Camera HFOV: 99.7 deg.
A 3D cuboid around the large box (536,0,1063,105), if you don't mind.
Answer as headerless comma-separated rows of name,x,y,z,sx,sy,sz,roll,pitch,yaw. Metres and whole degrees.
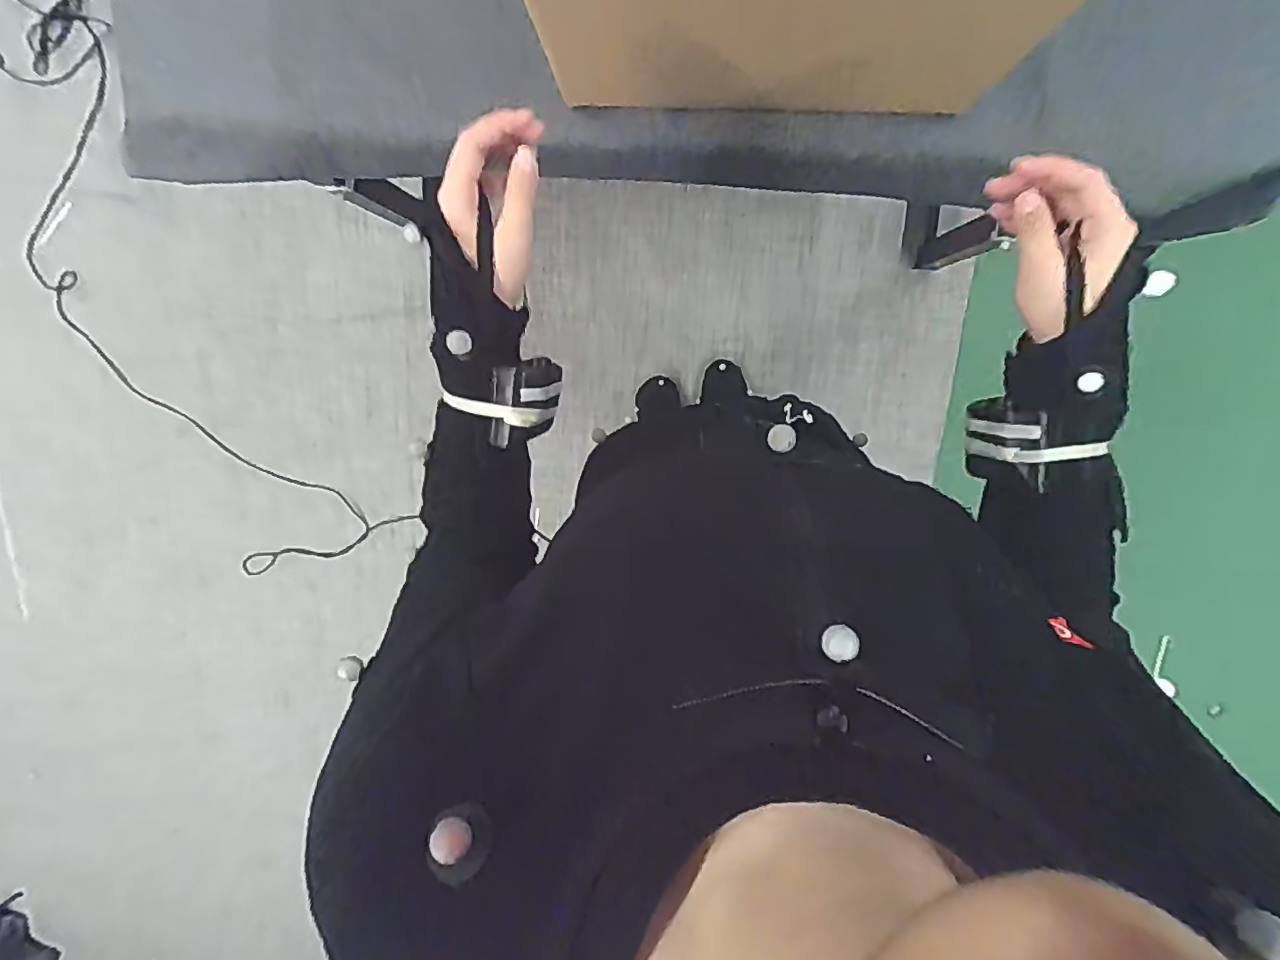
large box,0.119,-0.503,0.376,0.408,0.320,0.320,2,102,1
